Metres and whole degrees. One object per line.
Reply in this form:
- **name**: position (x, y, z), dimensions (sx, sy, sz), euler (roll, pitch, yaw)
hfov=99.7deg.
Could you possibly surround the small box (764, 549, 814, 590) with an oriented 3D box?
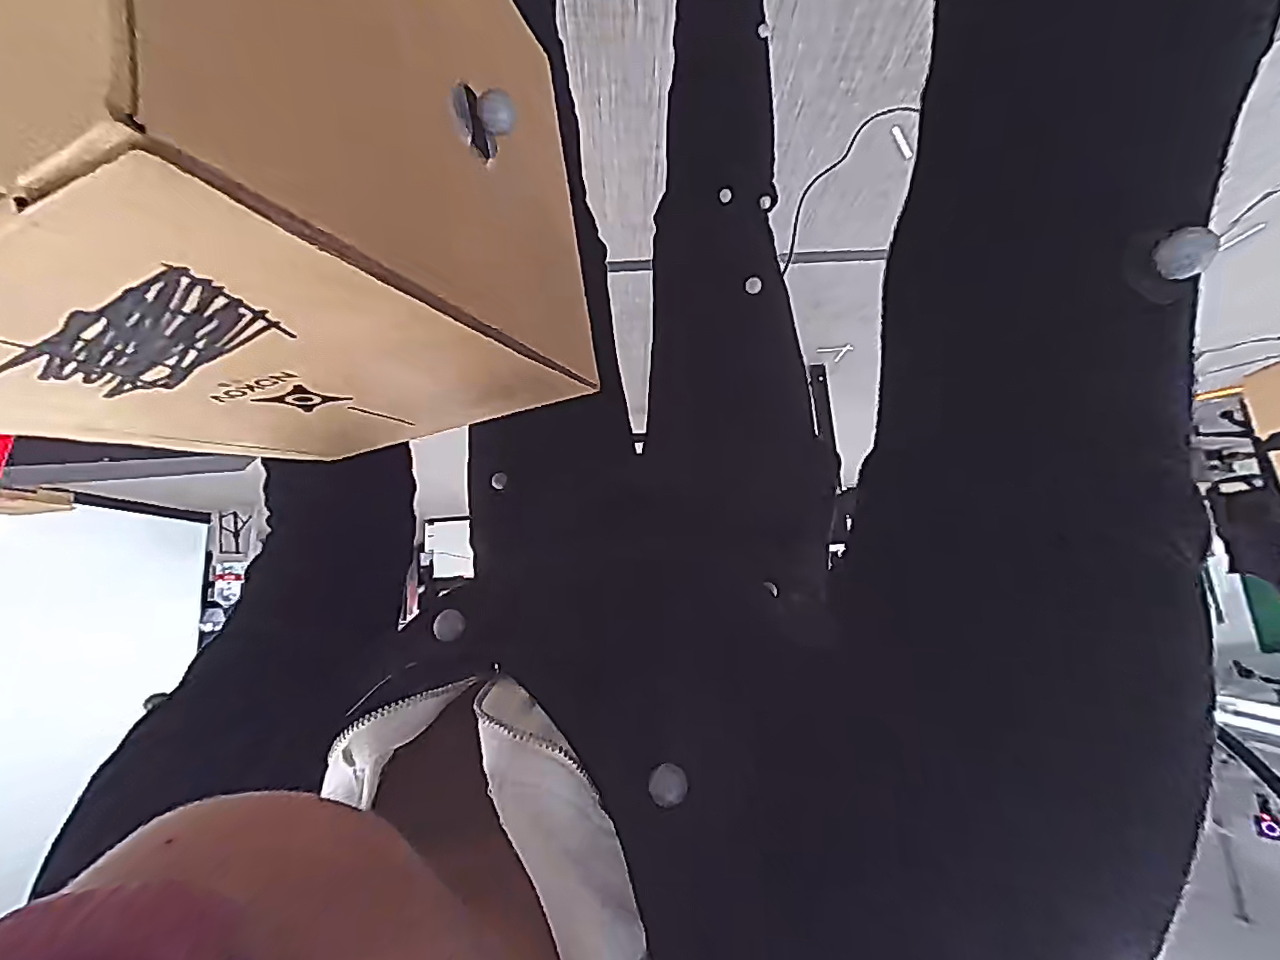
- **small box**: position (0.645, 0.391, 2.363), dimensions (0.168, 0.176, 0.179), euler (-3, 169, 0)

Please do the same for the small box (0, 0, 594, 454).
- **small box**: position (-0.135, -0.116, 0.197), dimensions (0.168, 0.176, 0.179), euler (-11, 174, 18)
